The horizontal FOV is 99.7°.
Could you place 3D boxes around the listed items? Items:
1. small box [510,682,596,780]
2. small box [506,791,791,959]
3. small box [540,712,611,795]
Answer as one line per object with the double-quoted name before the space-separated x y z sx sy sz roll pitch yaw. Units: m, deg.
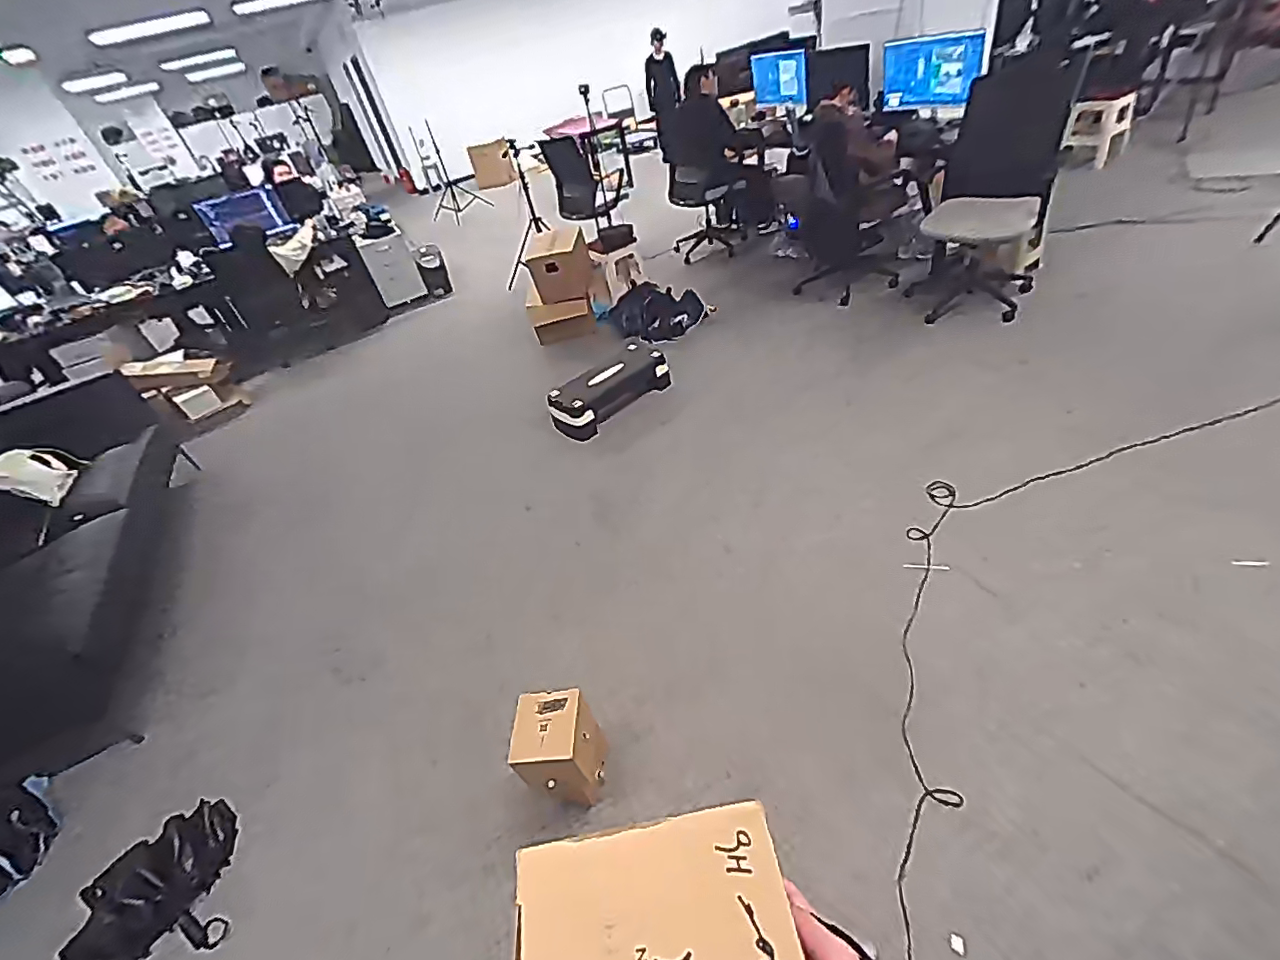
"small box" -0.215 0.649 1.395 0.168 0.176 0.179 -9 42 9
"small box" 0.014 0.347 0.387 0.179 0.176 0.168 -10 48 -1
"small box" -0.200 0.759 1.519 0.179 0.176 0.168 1 43 17
